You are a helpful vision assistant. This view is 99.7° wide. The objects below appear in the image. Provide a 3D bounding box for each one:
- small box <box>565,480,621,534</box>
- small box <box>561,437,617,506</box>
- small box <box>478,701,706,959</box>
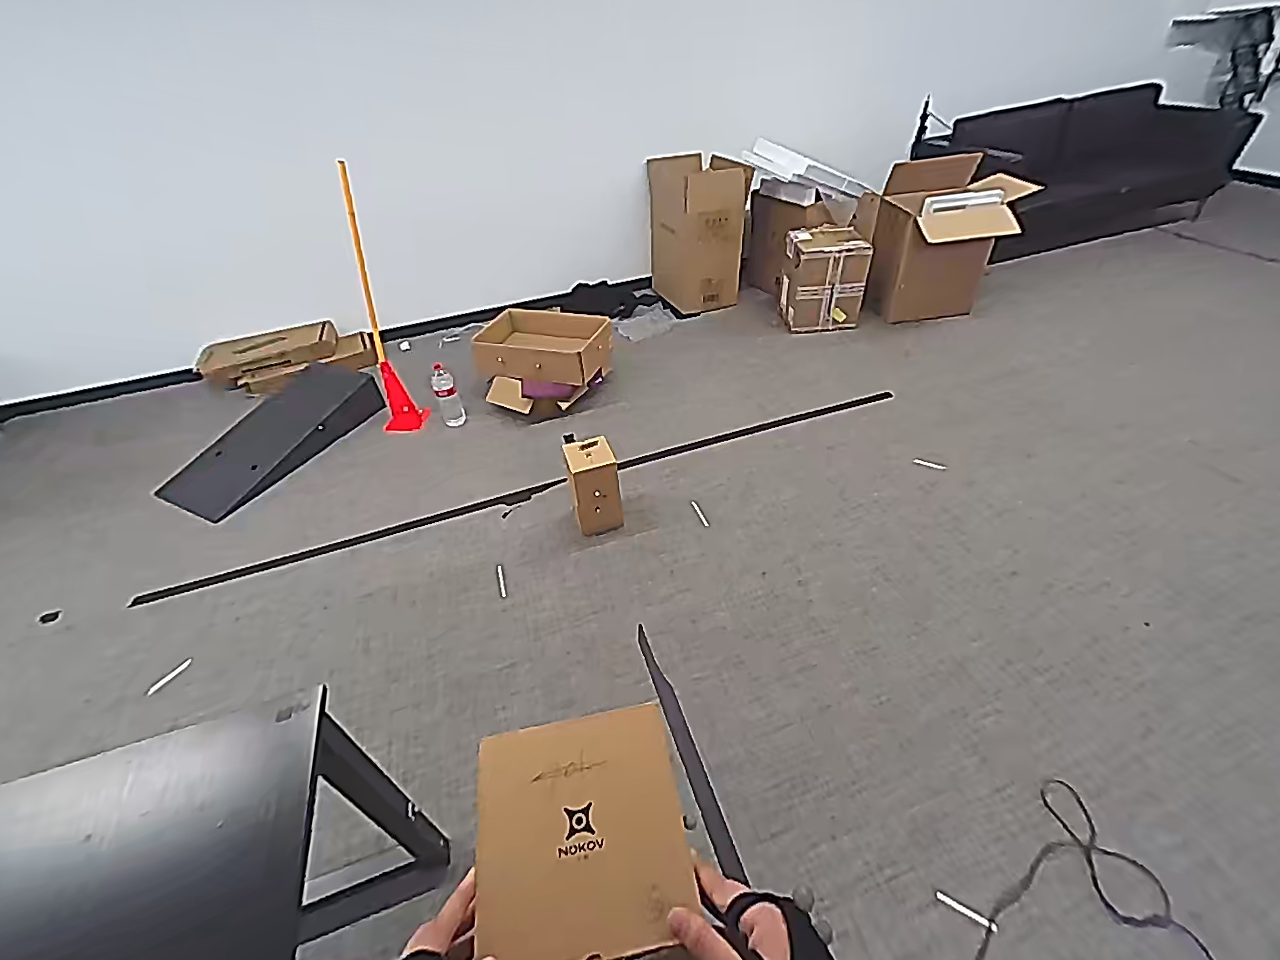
[{"bbox_3d":[-0.183,0.091,2.131,0.179,0.176,0.168,-14,42,-12],"label":"small box"},{"bbox_3d":[-0.189,-0.031,2.020,0.168,0.176,0.179,-15,43,-11],"label":"small box"},{"bbox_3d":[-0.042,0.334,0.489,0.168,0.176,0.179,-9,43,-7],"label":"small box"}]
